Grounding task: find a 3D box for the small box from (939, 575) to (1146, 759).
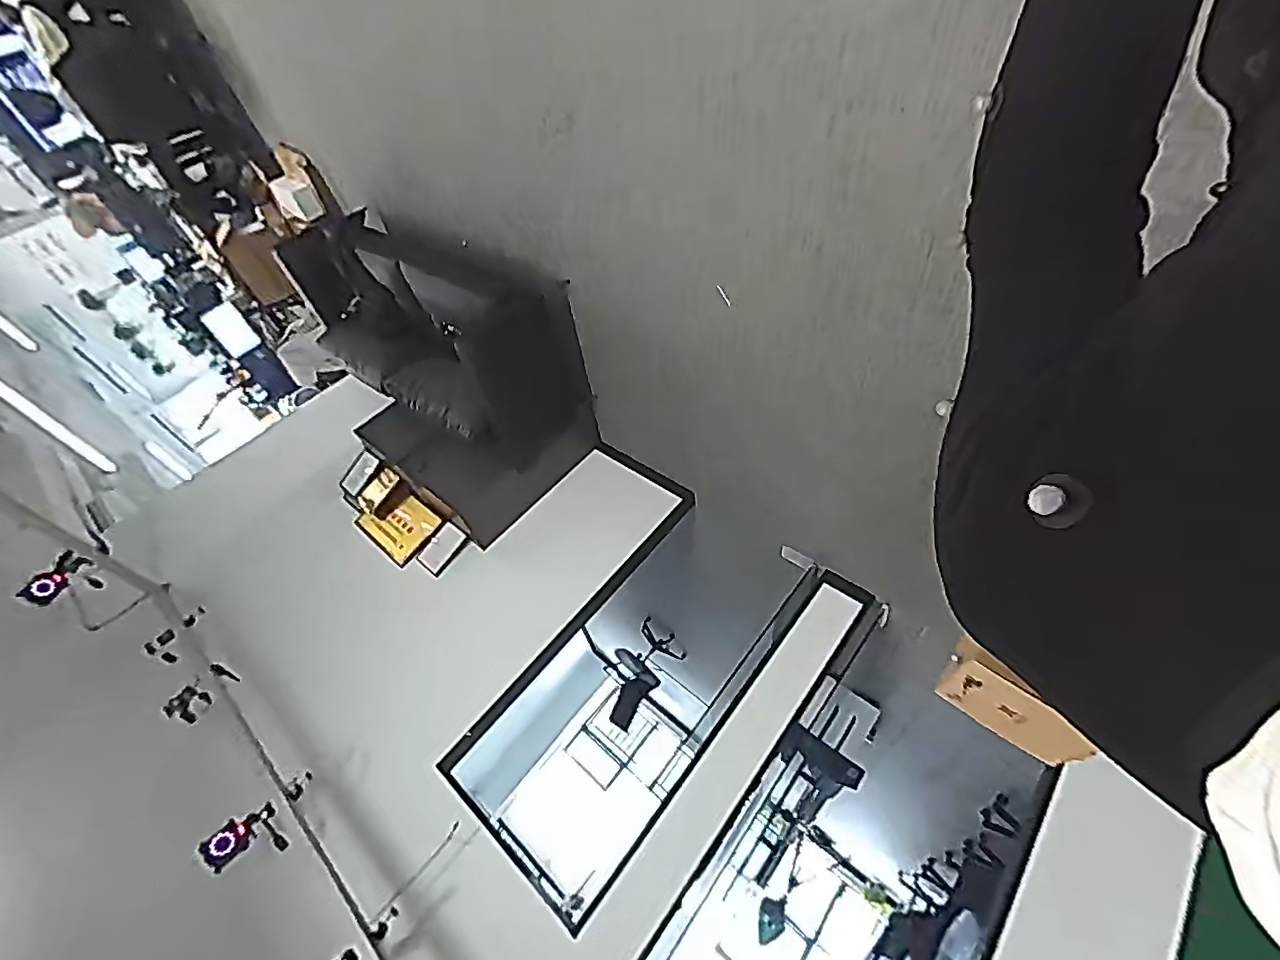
[{"bbox_3d":[0.590,0.273,0.803,0.179,0.176,0.168,31,153,26],"label":"small box"}]
